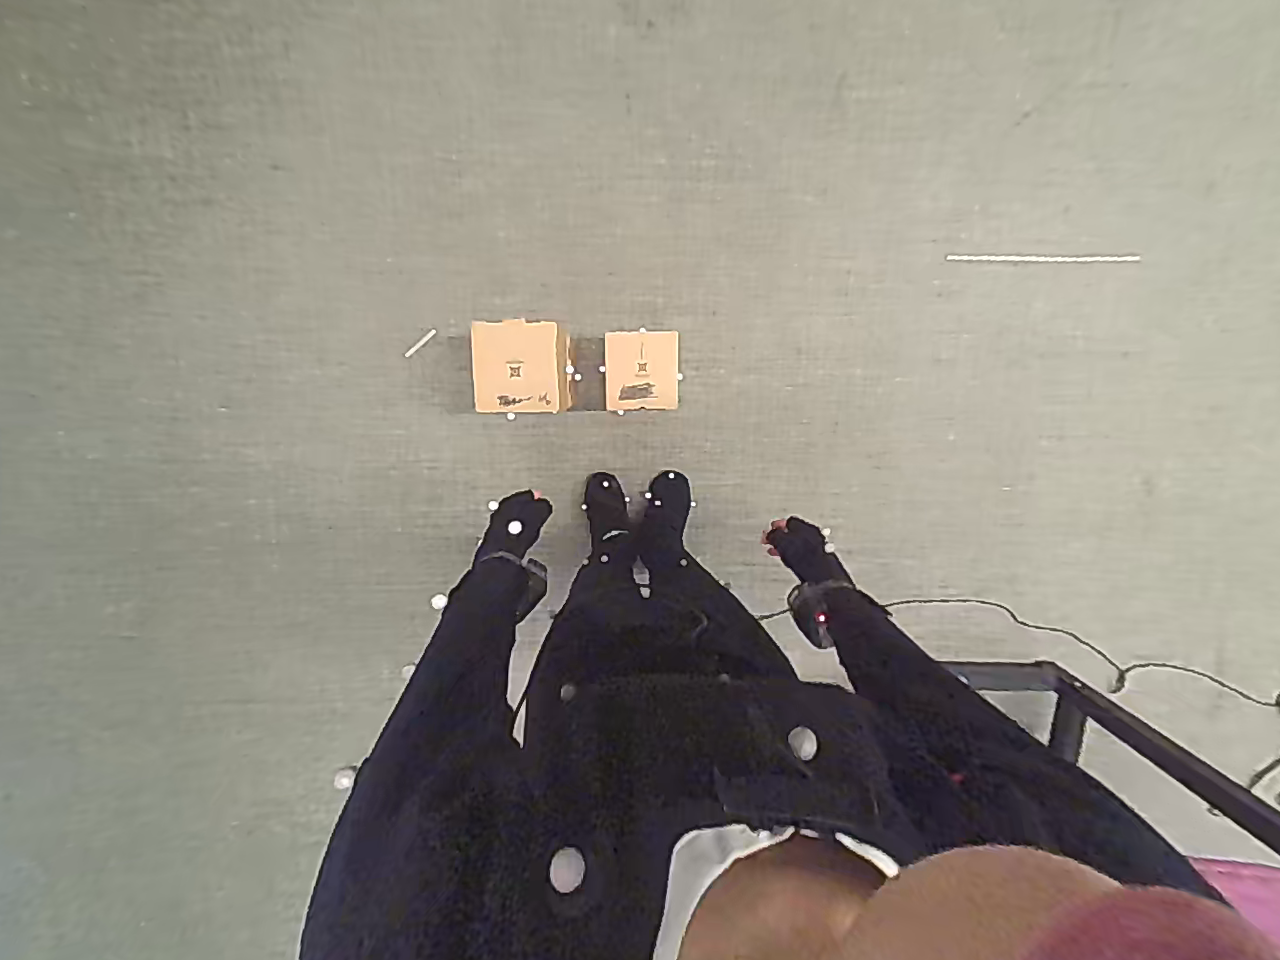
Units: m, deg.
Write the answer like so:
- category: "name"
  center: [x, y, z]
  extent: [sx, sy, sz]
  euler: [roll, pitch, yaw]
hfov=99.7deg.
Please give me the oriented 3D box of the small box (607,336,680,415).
- category: "small box"
  center: [0.007, -0.247, 1.290]
  extent: [0.168, 0.176, 0.179]
  euler: [0, 98, -1]

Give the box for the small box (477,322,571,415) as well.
- category: "small box"
  center: [-0.236, -0.225, 1.125]
  extent: [0.168, 0.176, 0.179]
  euler: [1, 98, -1]
